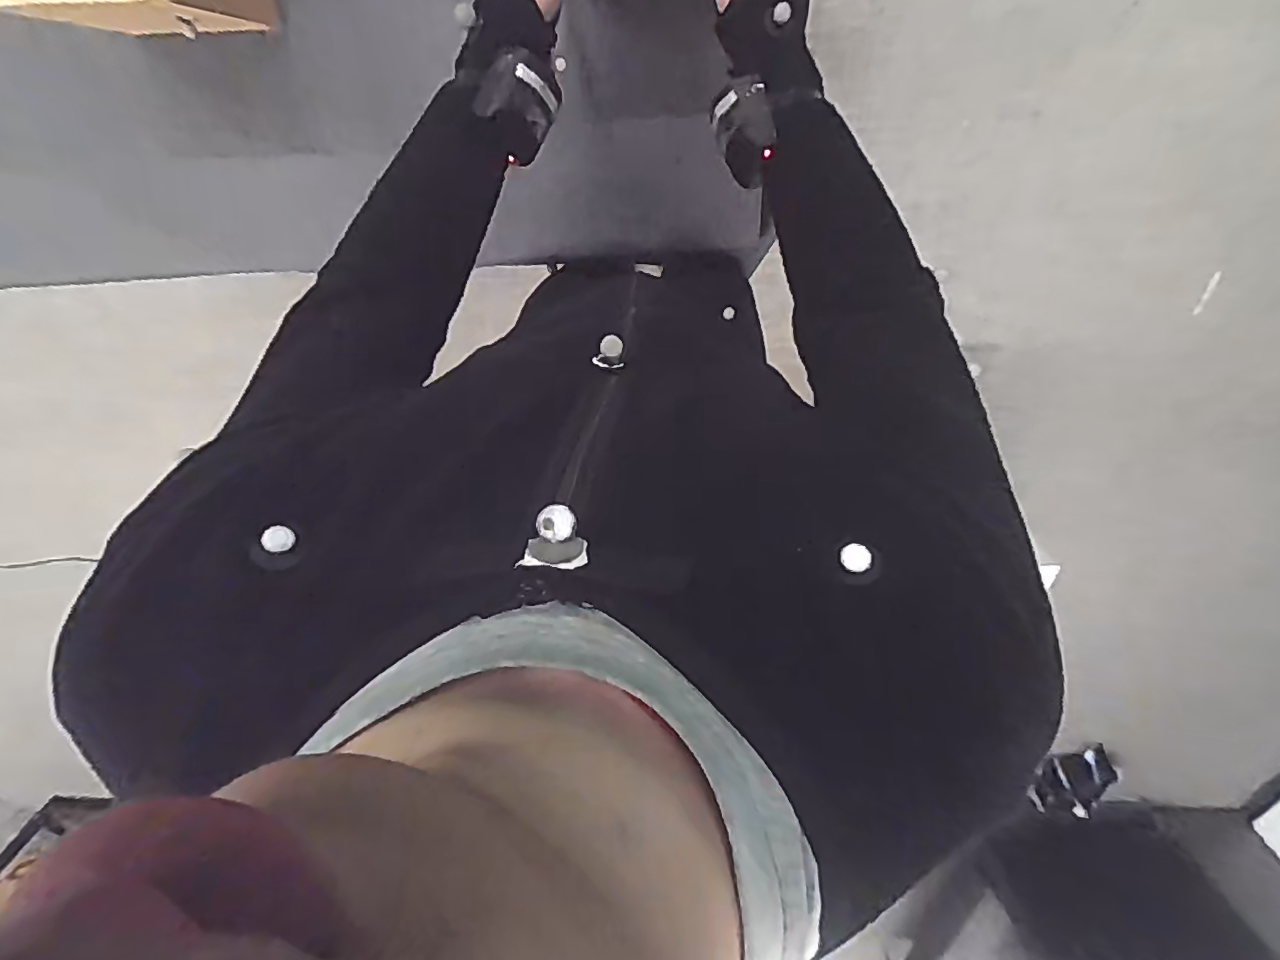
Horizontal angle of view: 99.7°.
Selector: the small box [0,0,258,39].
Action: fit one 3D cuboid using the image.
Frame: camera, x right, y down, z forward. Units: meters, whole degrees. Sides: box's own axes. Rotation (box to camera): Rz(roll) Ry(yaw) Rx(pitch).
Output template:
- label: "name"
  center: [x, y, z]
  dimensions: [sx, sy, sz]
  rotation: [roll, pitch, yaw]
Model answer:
- label: "small box"
  center: [-0.468, -0.492, 0.456]
  dimensions: [0.179, 0.176, 0.168]
  rotation: [-1, 121, 2]
